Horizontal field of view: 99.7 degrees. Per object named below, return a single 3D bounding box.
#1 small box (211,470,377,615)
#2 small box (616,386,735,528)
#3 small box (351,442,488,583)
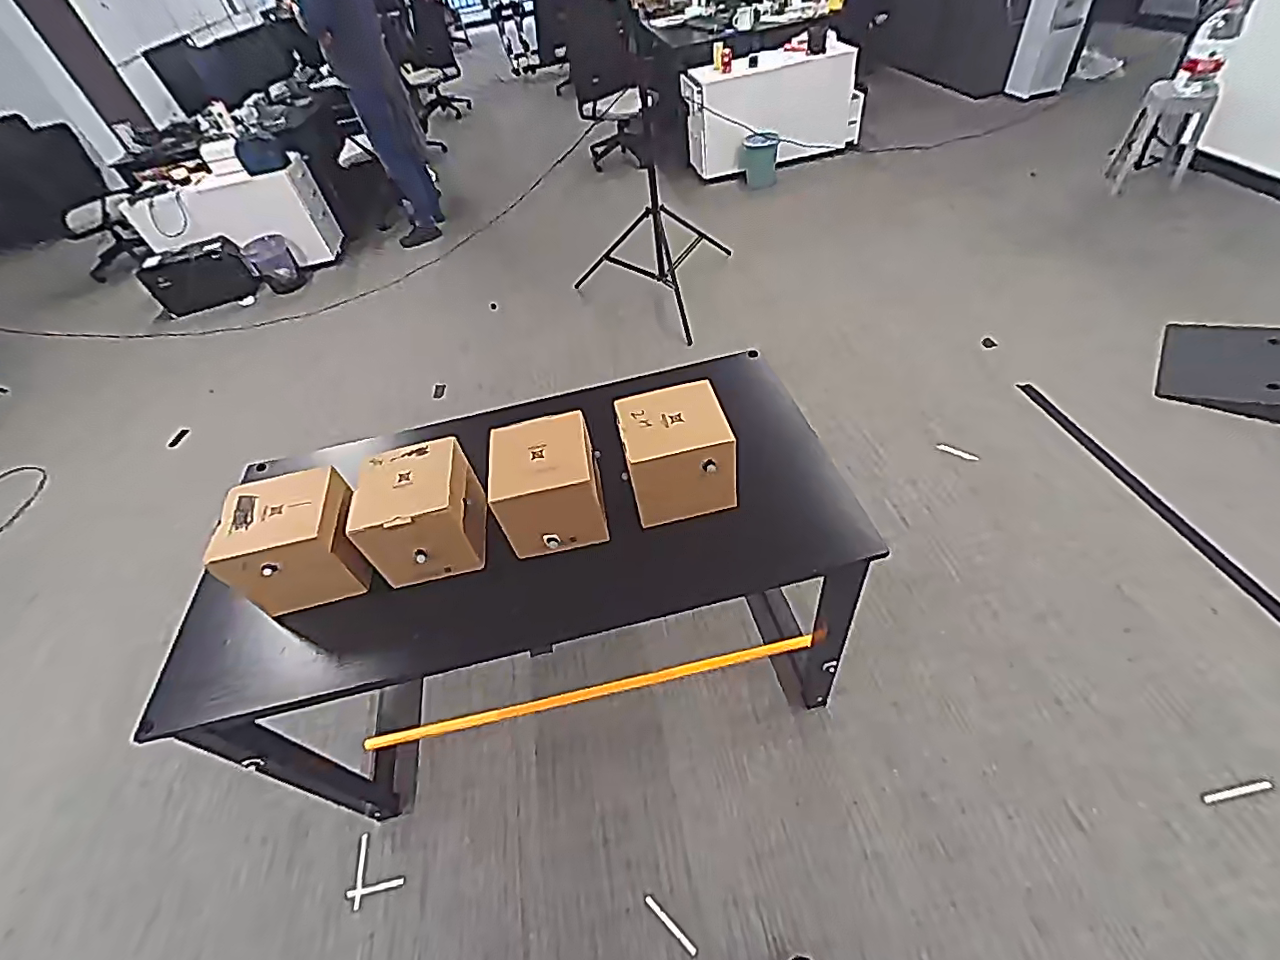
[{"bbox_3d":[-0.586,0.114,0.950,0.179,0.176,0.168,-14,47,-4],"label":"small box"},{"bbox_3d":[0.064,-0.038,0.968,0.179,0.176,0.168,-13,46,-1],"label":"small box"},{"bbox_3d":[-0.377,0.065,0.958,0.168,0.176,0.179,-13,48,-1],"label":"small box"}]
